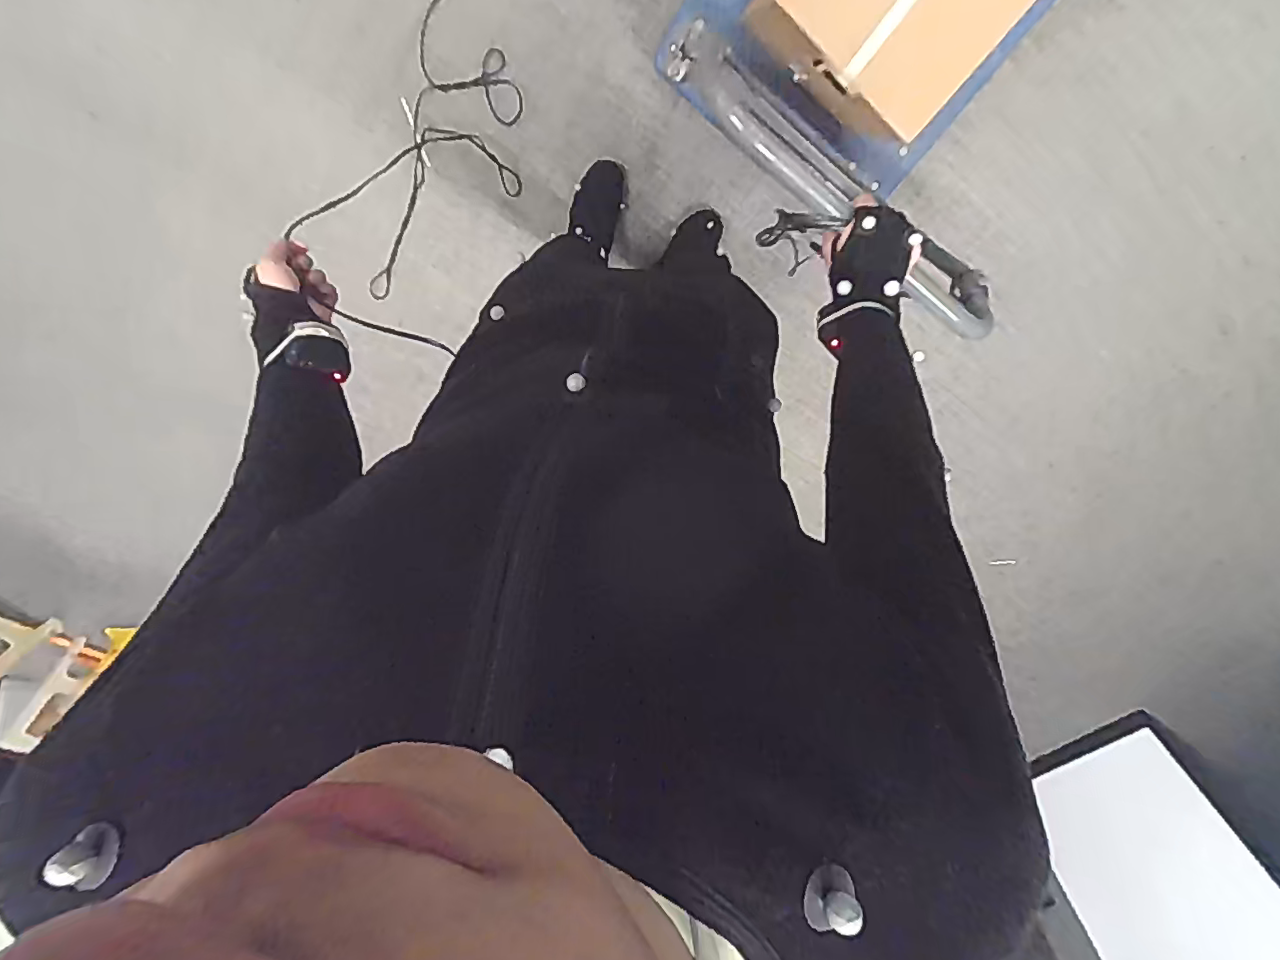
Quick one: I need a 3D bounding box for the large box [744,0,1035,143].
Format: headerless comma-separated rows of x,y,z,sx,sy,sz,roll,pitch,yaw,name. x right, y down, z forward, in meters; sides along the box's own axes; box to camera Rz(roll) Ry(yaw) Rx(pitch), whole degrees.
0.428,-0.830,0.857,0.320,0.320,0.408,31,119,-21,large box
